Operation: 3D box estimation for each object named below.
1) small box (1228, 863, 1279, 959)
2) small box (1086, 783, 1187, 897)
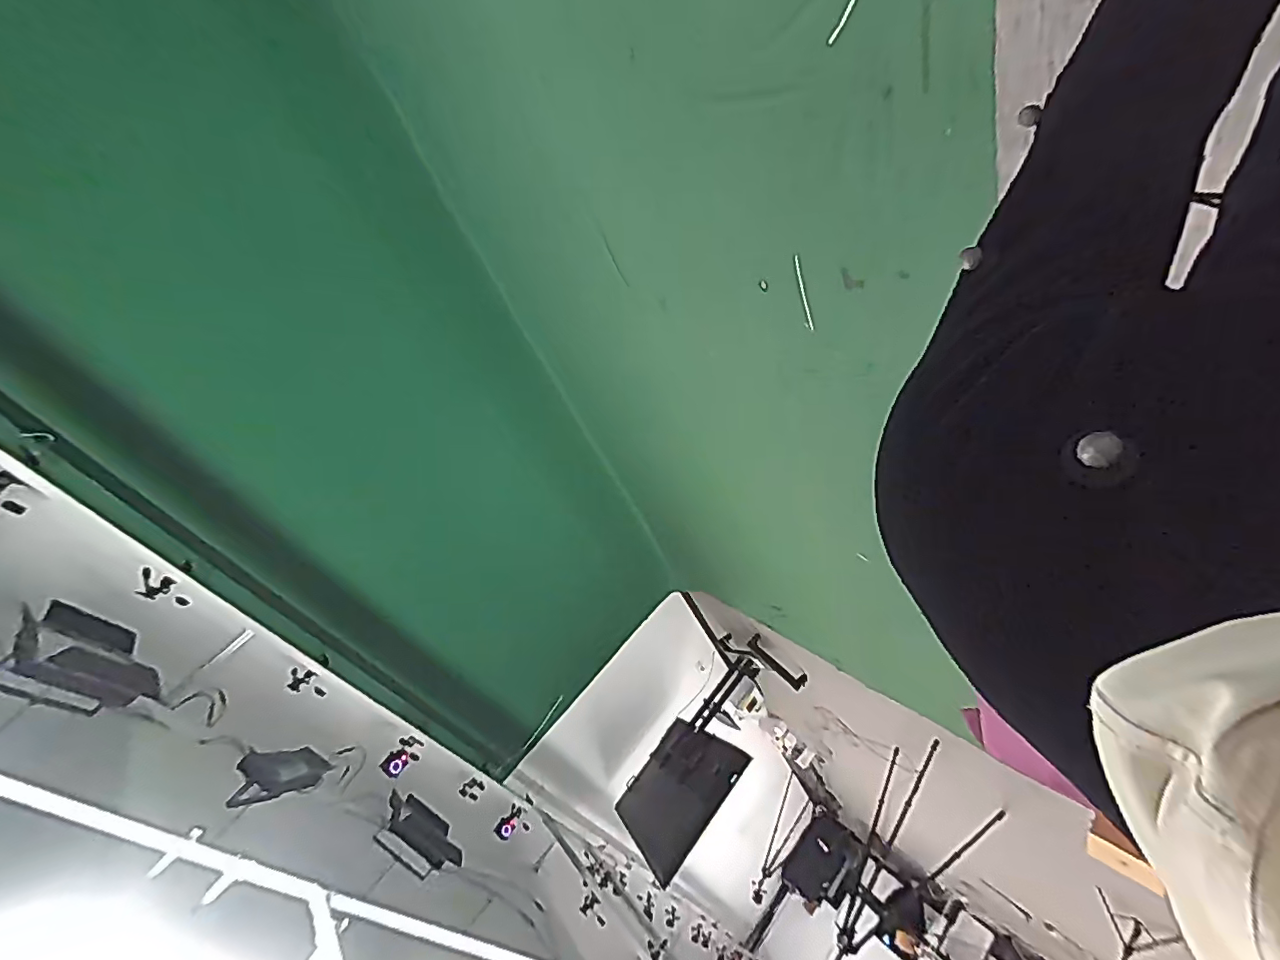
[{"bbox_3d":[1.528,1.043,1.261,0.168,0.176,0.179,20,149,49],"label":"small box"},{"bbox_3d":[1.350,0.974,1.472,0.168,0.176,0.179,18,146,49],"label":"small box"}]
